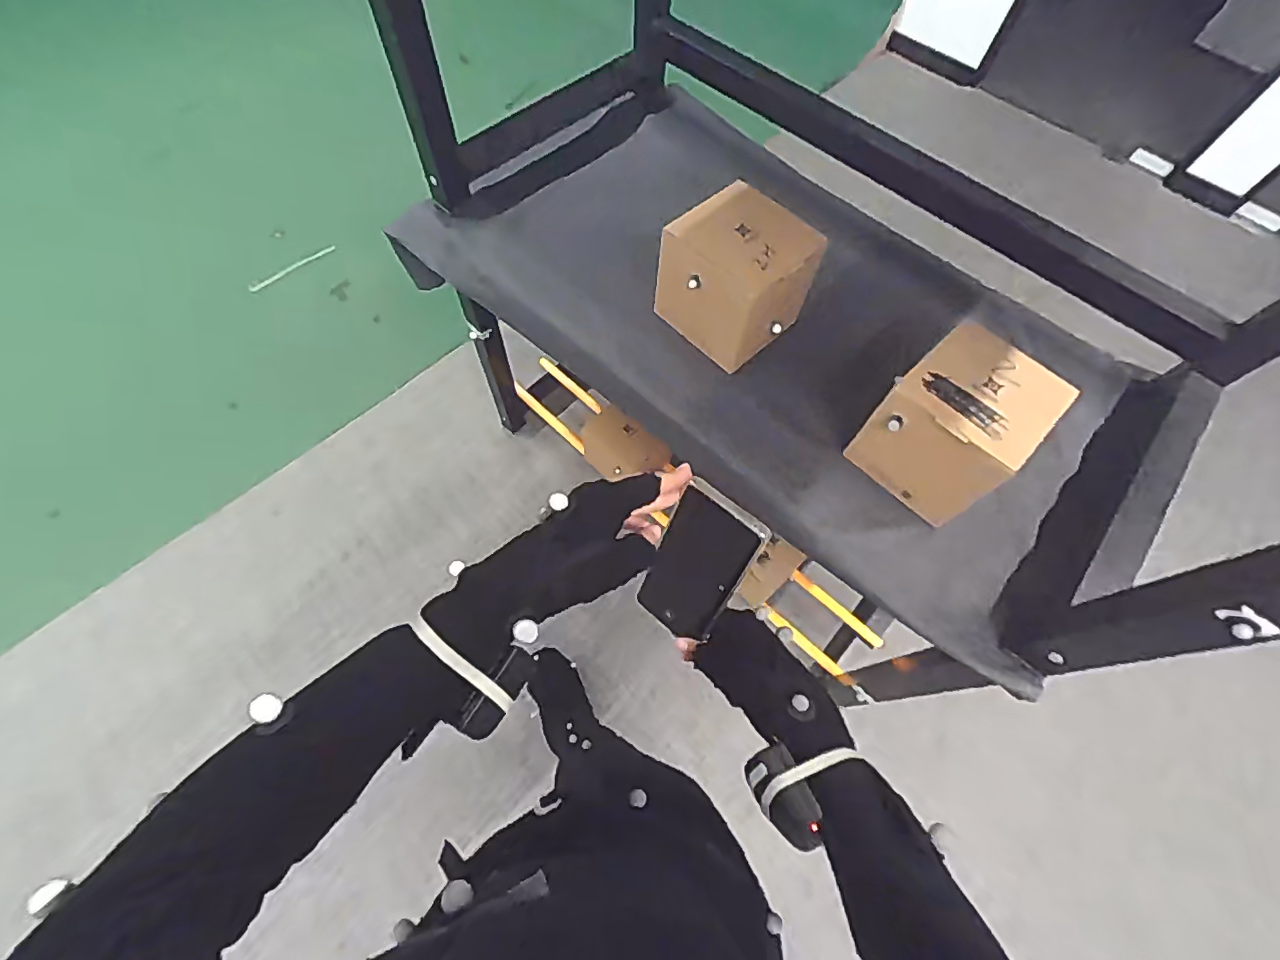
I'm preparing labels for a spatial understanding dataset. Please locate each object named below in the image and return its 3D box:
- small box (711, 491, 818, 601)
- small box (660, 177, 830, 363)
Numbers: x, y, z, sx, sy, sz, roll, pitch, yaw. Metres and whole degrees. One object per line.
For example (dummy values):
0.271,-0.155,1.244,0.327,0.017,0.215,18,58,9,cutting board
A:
0.289,0.165,1.302,0.179,0.176,0.168,-40,73,-19,small box
0.148,-0.316,0.832,0.168,0.176,0.179,-41,74,-20,small box
